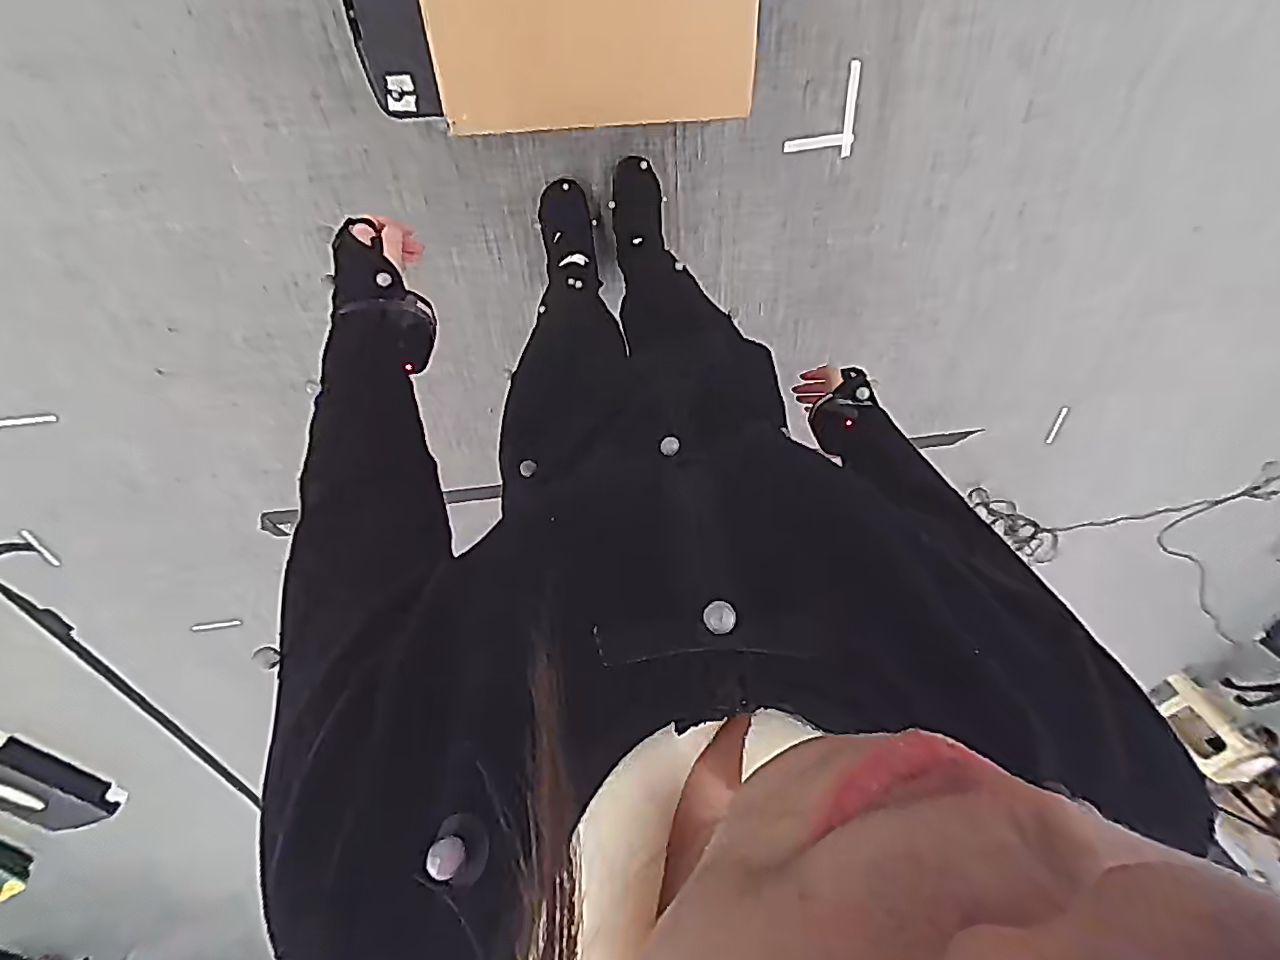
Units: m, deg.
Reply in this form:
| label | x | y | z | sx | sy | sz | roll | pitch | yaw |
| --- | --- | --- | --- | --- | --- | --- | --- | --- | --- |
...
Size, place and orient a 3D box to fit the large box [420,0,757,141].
| label | x | y | z | sx | sy | sz | roll | pitch | yaw |
| --- | --- | --- | --- | --- | --- | --- | --- | --- | --- |
| large box | -0.073 | -0.674 | 0.735 | 0.408 | 0.320 | 0.320 | -7 | 127 | -4 |

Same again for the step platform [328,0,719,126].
| label | x | y | z | sx | sy | sz | roll | pitch | yaw |
| --- | --- | --- | --- | --- | --- | --- | --- | --- | --- |
| step platform | -0.158 | -0.796 | 0.930 | 0.684 | 0.204 | 0.286 | -2 | 127 | -8 |
